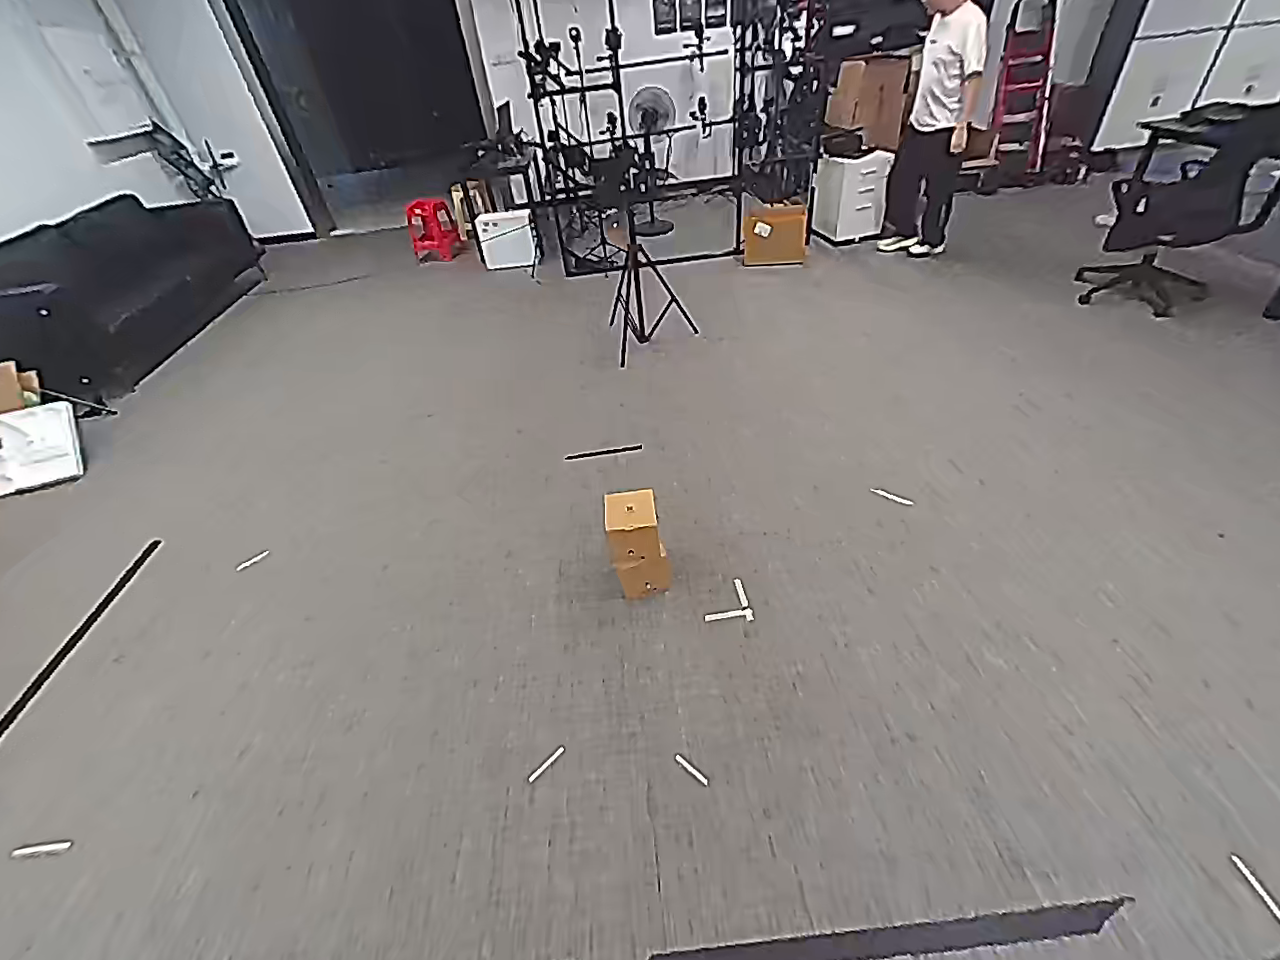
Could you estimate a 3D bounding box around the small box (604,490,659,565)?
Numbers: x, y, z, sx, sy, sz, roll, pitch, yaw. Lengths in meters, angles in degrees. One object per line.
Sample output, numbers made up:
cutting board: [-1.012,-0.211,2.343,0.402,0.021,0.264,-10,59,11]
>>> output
small box: [-0.029,0.158,1.805,0.168,0.176,0.179,-7,40,0]

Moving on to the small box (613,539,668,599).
small box: [-0.006,0.286,1.904,0.168,0.176,0.179,-16,41,-9]
